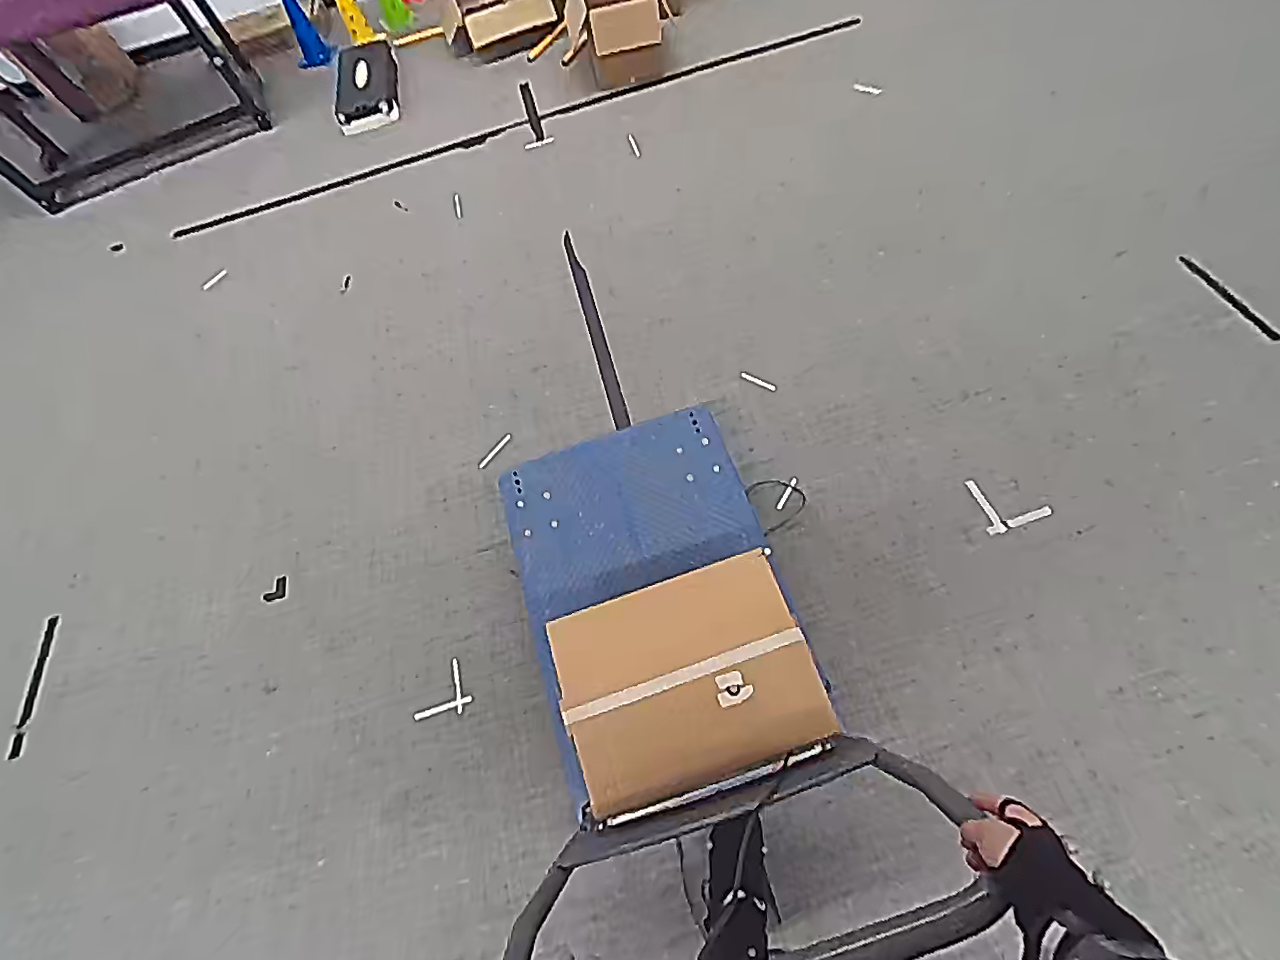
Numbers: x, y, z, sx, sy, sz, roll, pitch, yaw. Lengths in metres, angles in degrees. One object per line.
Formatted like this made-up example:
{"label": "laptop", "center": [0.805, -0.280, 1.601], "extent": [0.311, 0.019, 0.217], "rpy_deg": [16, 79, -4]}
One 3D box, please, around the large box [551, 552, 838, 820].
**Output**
{"label": "large box", "center": [0.090, 0.381, 1.030], "extent": [0.408, 0.320, 0.320], "rpy_deg": [-19, 68, -2]}
